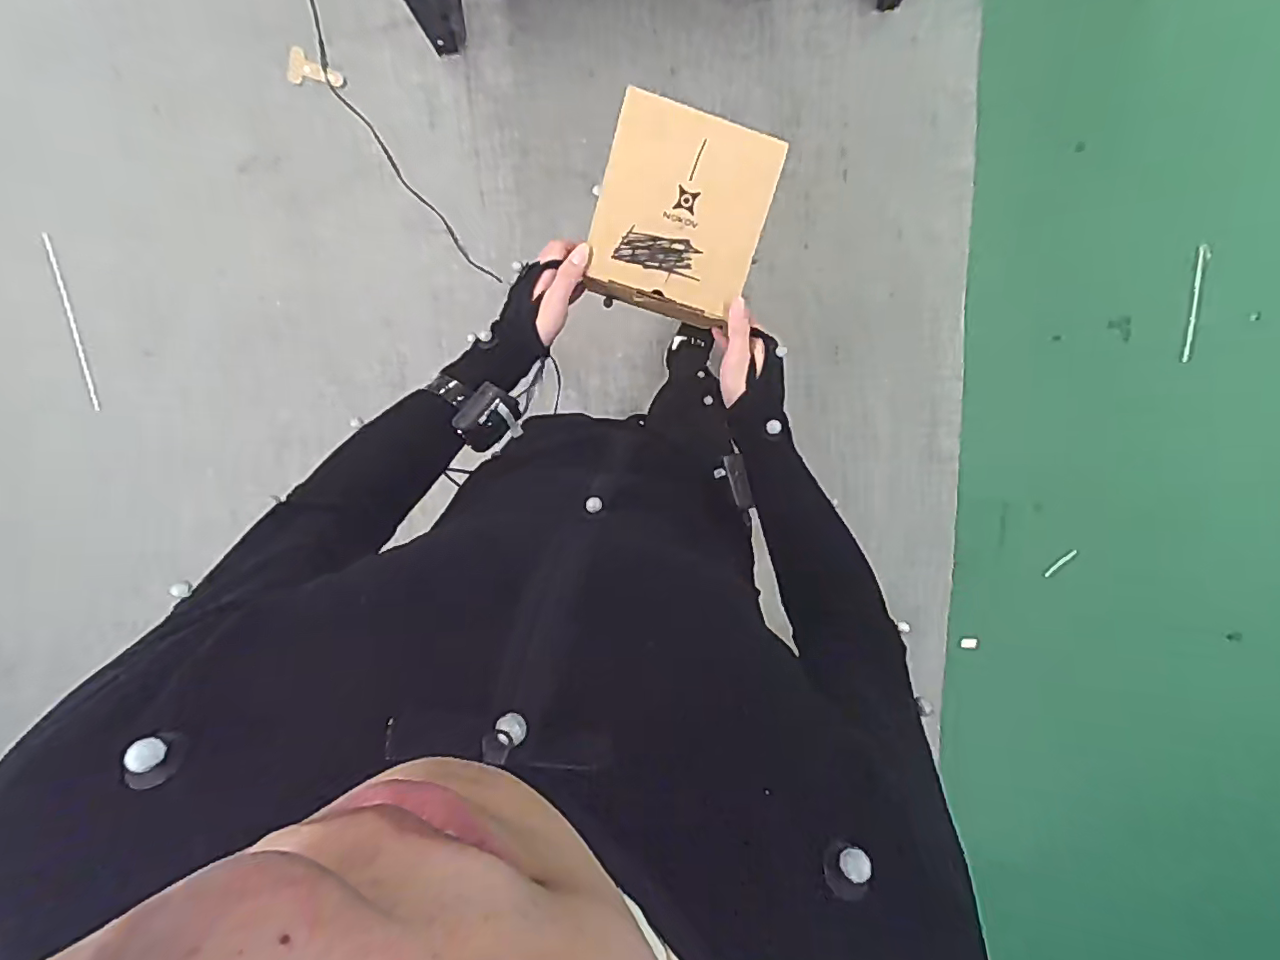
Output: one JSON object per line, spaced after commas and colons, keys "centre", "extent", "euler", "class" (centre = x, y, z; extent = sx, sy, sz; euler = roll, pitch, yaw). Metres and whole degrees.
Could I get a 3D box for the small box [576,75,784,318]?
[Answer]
{"centre": [0.034, -0.292, 0.605], "extent": [0.168, 0.176, 0.179], "euler": [15, 101, -7], "class": "small box"}
